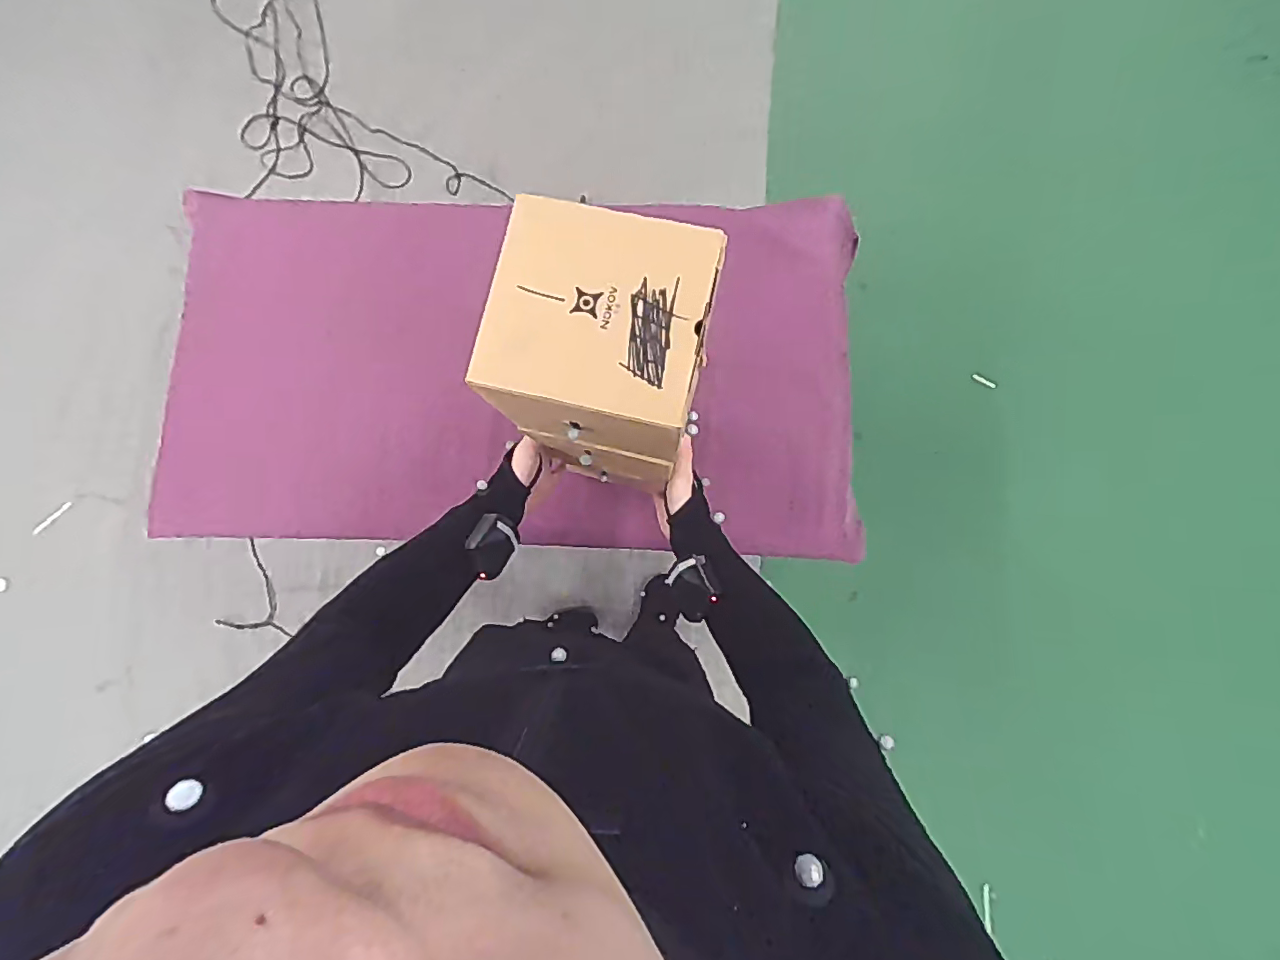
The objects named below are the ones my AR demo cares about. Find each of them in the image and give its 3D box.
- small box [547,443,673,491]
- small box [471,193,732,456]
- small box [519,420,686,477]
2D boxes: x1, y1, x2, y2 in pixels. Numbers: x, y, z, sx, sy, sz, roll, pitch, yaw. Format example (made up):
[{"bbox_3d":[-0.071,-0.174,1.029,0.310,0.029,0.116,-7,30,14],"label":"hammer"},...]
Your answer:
[{"bbox_3d":[-0.020,-0.086,0.829,0.179,0.176,0.168,17,85,3],"label":"small box"},{"bbox_3d":[-0.027,-0.125,0.503,0.179,0.176,0.168,14,84,4],"label":"small box"},{"bbox_3d":[-0.024,-0.106,0.667,0.179,0.176,0.168,15,85,4],"label":"small box"}]
